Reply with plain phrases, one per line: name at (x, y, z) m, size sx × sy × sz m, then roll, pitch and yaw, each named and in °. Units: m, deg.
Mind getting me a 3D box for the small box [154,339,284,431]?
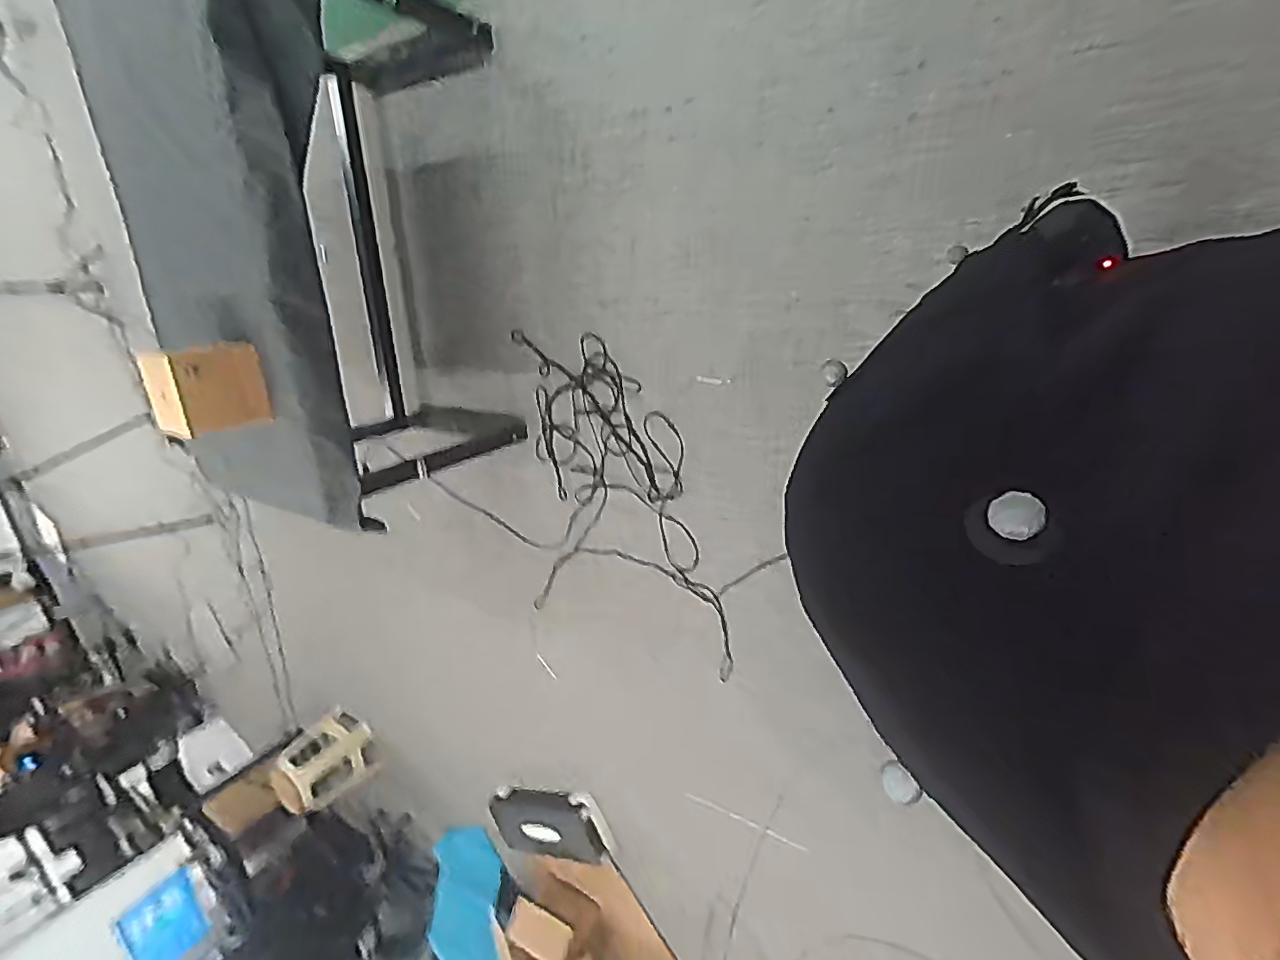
small box at (-0.943, -0.221, 1.225) m, size 0.168 × 0.176 × 0.179 m, roll 10°, pitch 111°, yaw 31°
